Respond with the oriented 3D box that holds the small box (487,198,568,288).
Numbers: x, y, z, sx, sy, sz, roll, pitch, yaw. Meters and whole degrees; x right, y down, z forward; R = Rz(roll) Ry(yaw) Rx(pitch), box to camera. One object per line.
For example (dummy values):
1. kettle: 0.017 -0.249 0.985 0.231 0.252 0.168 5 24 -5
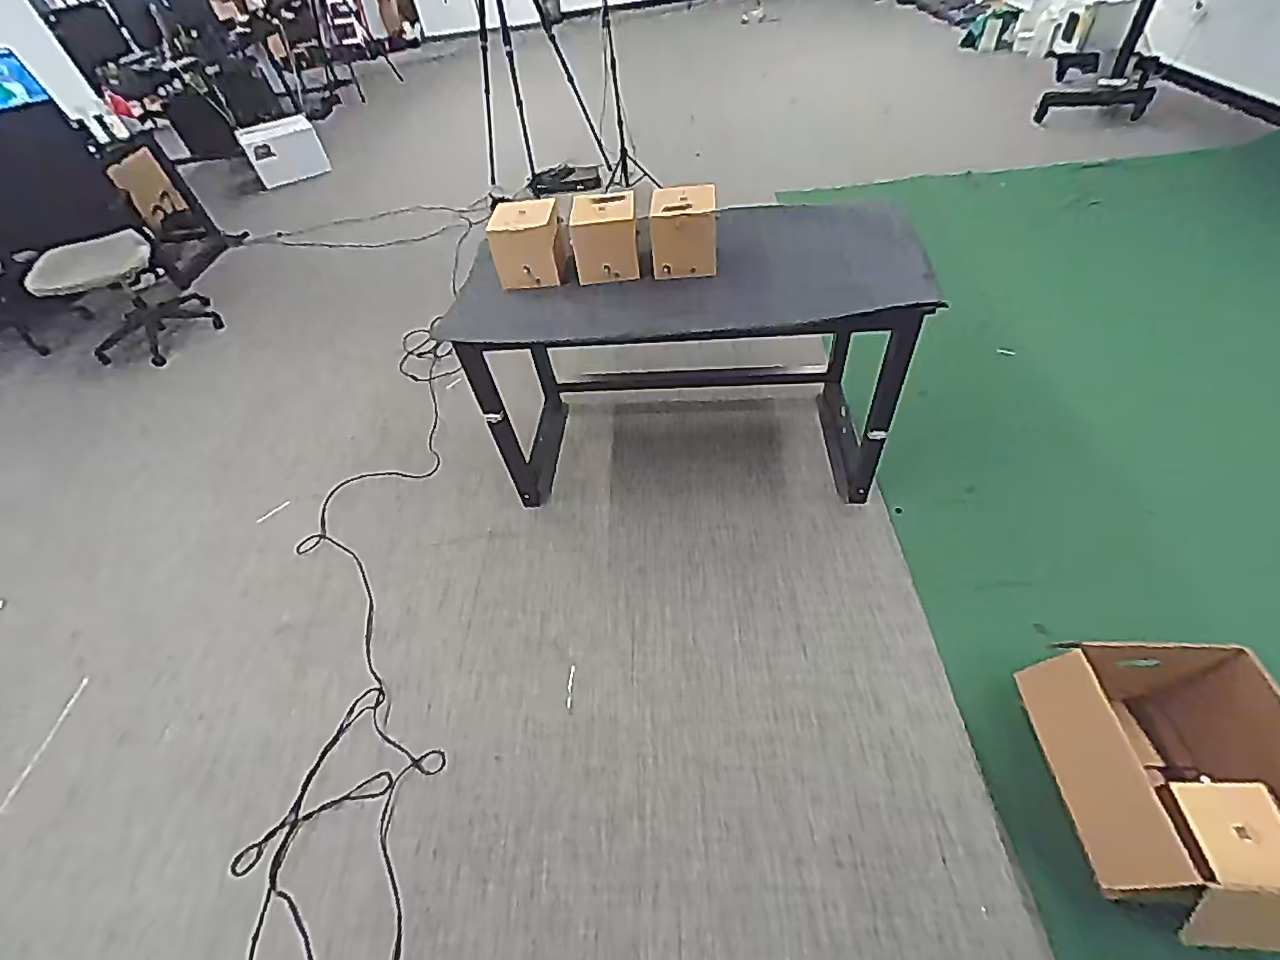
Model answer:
1. small box: -0.300 -0.652 1.488 0.168 0.176 0.179 -3 49 6
